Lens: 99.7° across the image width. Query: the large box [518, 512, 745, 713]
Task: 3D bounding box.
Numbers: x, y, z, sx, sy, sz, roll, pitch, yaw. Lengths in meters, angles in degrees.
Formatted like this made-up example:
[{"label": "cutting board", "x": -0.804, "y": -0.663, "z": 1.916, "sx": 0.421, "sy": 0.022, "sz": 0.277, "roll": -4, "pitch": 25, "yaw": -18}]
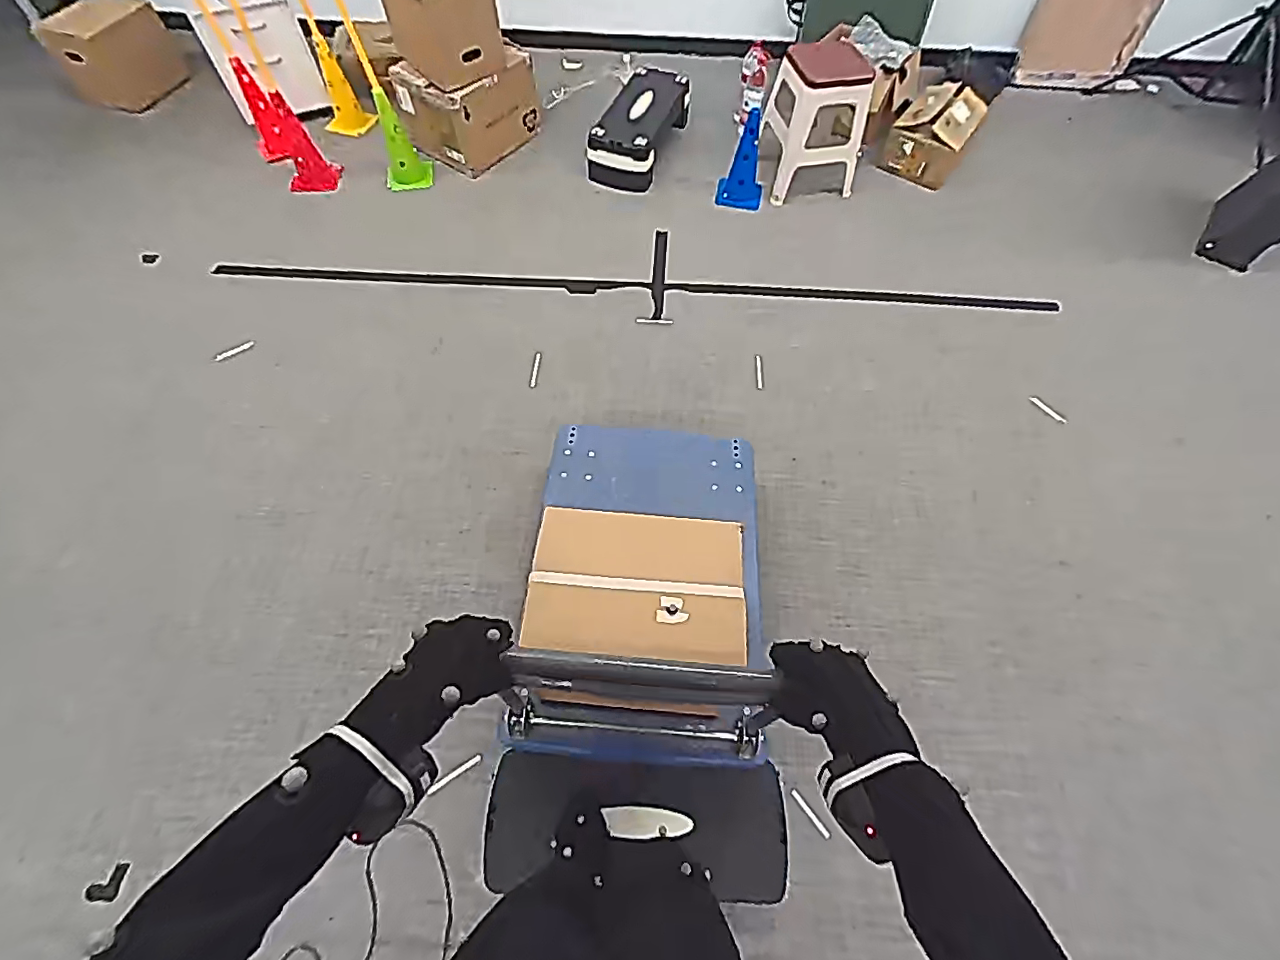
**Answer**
[{"label": "large box", "x": -0.016, "y": 0.287, "z": 1.138, "sx": 0.408, "sy": 0.320, "sz": 0.320, "roll": 5, "pitch": 57, "yaw": 0}]
